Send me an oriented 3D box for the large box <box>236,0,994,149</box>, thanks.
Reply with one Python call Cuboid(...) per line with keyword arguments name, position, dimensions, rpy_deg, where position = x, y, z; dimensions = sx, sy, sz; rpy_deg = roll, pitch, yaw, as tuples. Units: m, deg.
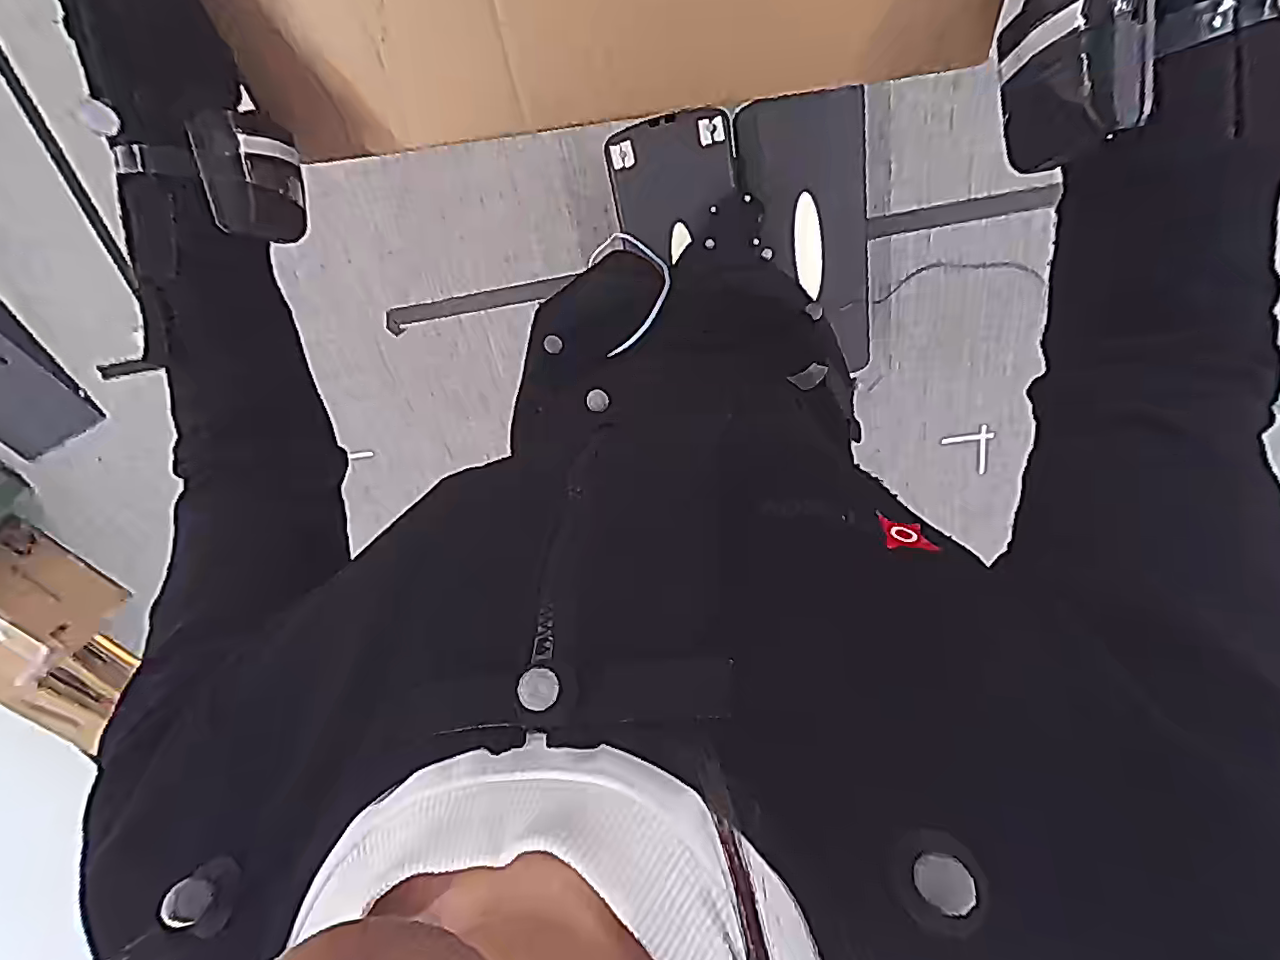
Cuboid(name="large box", position=(-0.025, -0.432, 0.305), dimensions=(0.408, 0.320, 0.320), rpy_deg=(0, 138, 12))
